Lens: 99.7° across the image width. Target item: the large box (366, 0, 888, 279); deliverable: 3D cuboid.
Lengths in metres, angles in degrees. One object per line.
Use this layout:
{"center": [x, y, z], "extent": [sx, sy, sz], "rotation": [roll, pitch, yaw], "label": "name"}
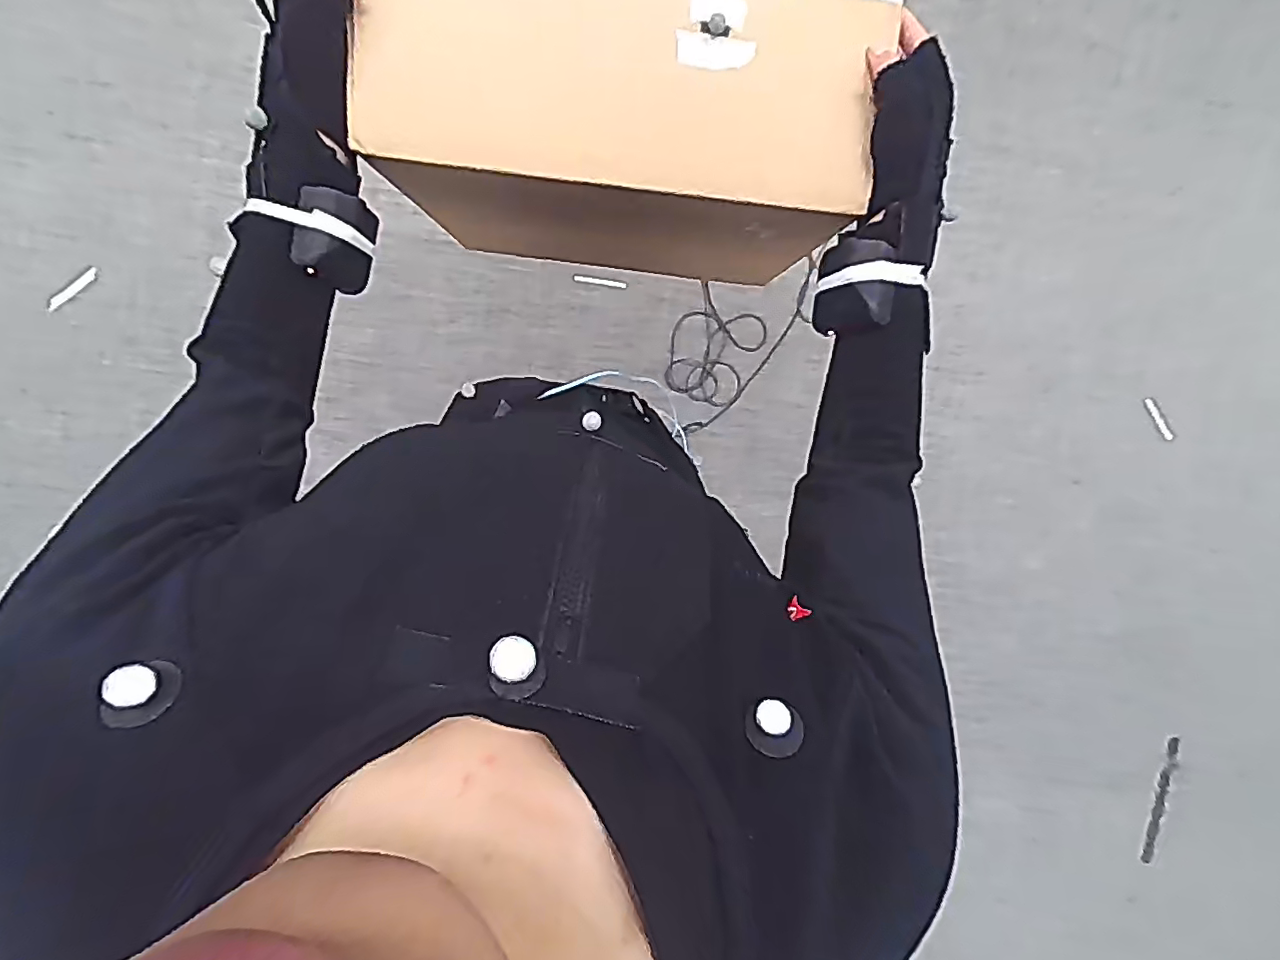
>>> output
{"center": [-0.012, -0.413, 0.556], "extent": [0.408, 0.320, 0.320], "rotation": [6, 100, -4], "label": "large box"}
